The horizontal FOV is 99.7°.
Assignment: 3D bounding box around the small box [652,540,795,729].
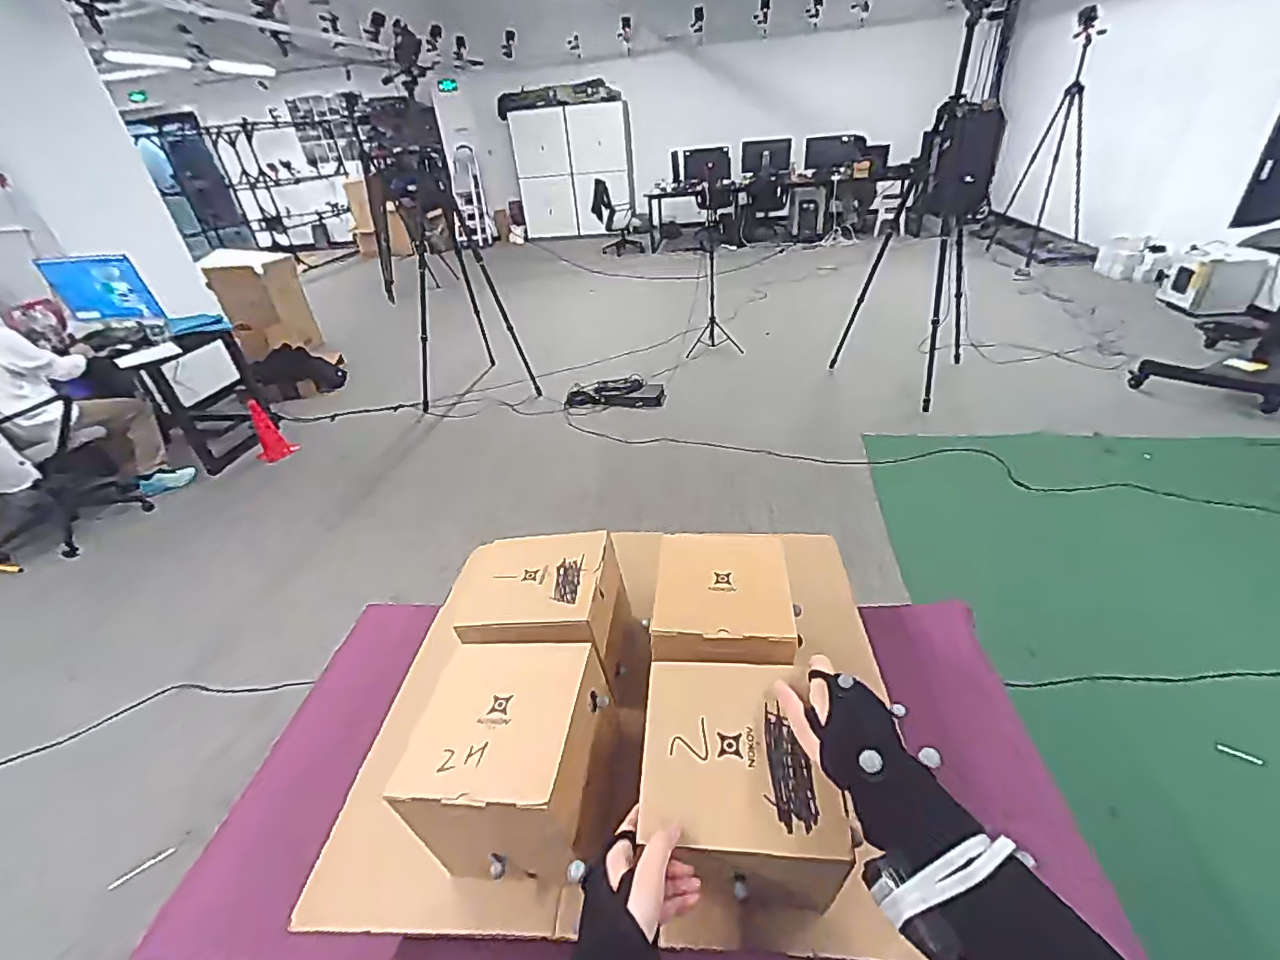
[{"bbox_3d":[0.107,0.201,0.724,0.168,0.176,0.179,1,35,7],"label":"small box"}]
